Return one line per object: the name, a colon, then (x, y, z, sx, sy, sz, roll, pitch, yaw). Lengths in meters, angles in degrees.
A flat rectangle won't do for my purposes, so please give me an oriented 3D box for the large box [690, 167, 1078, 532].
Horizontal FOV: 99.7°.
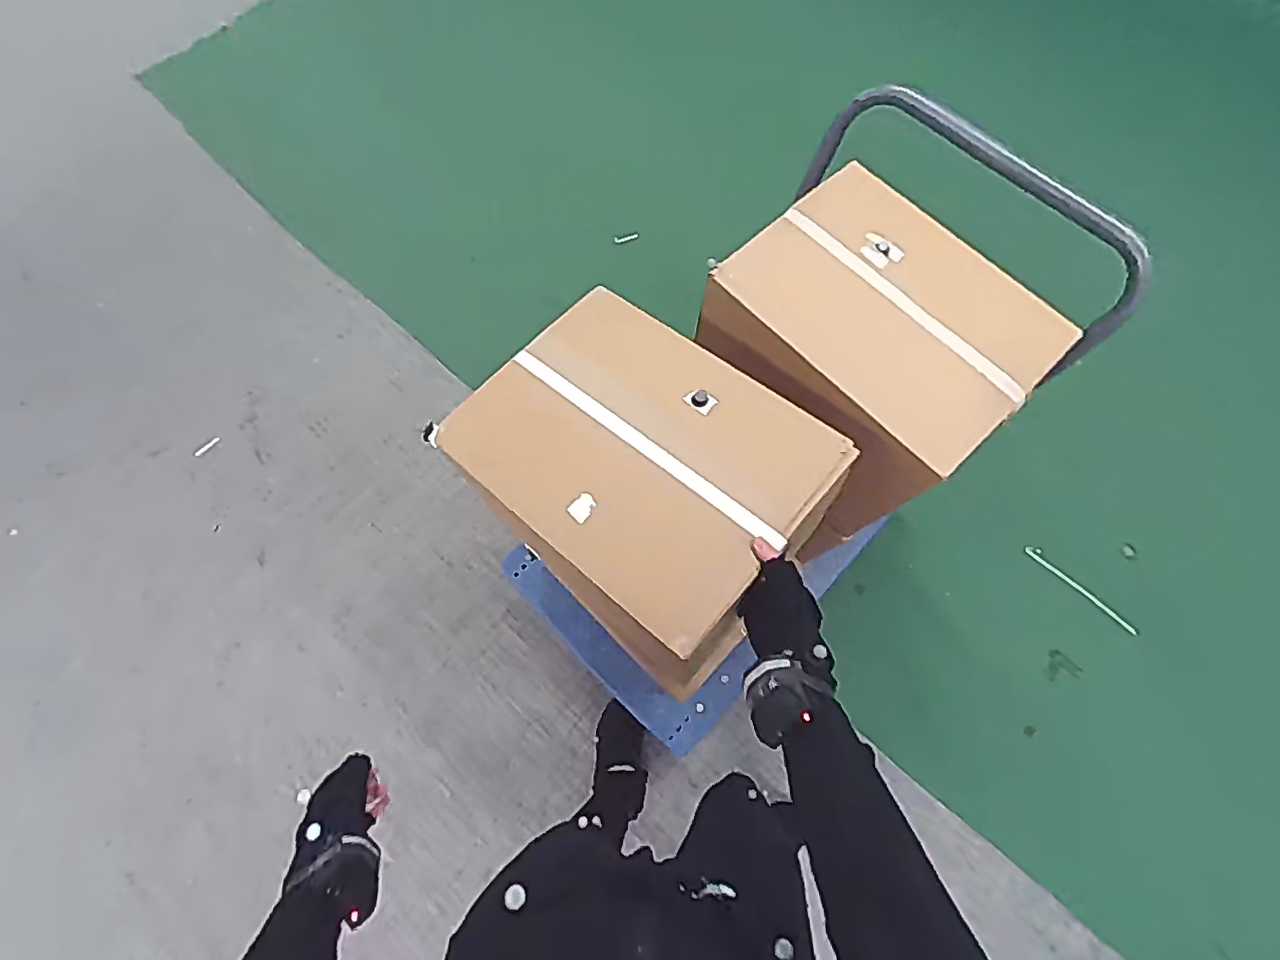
large box: (0.333, -0.185, 0.861, 0.320, 0.320, 0.408, -41, 75, -13)
